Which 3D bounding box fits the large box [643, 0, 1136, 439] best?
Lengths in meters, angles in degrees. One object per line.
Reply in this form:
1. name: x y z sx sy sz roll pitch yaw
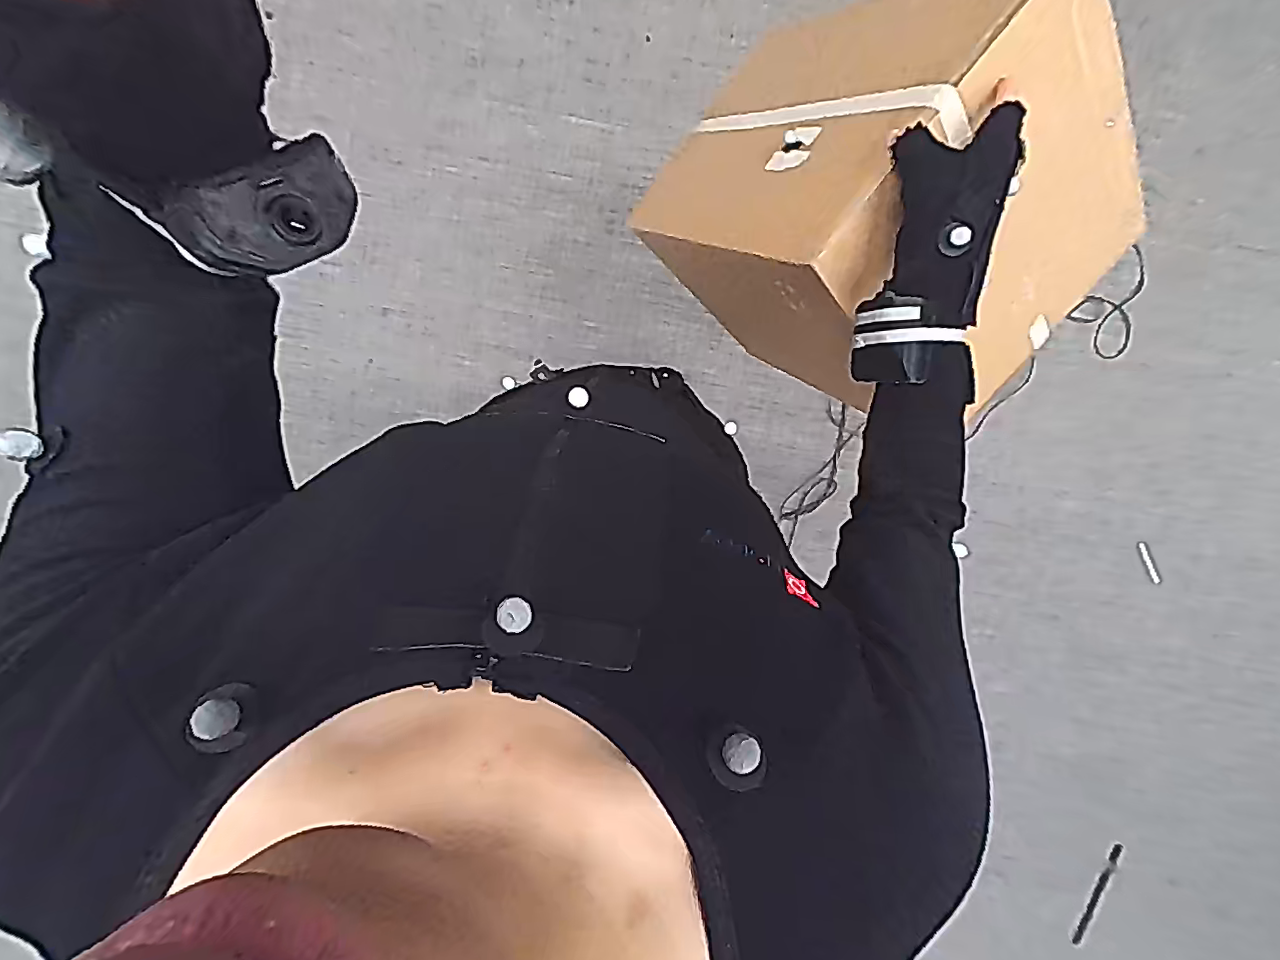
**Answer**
1. large box: 0.273 -0.314 0.677 0.320 0.408 0.320 34 100 -36
